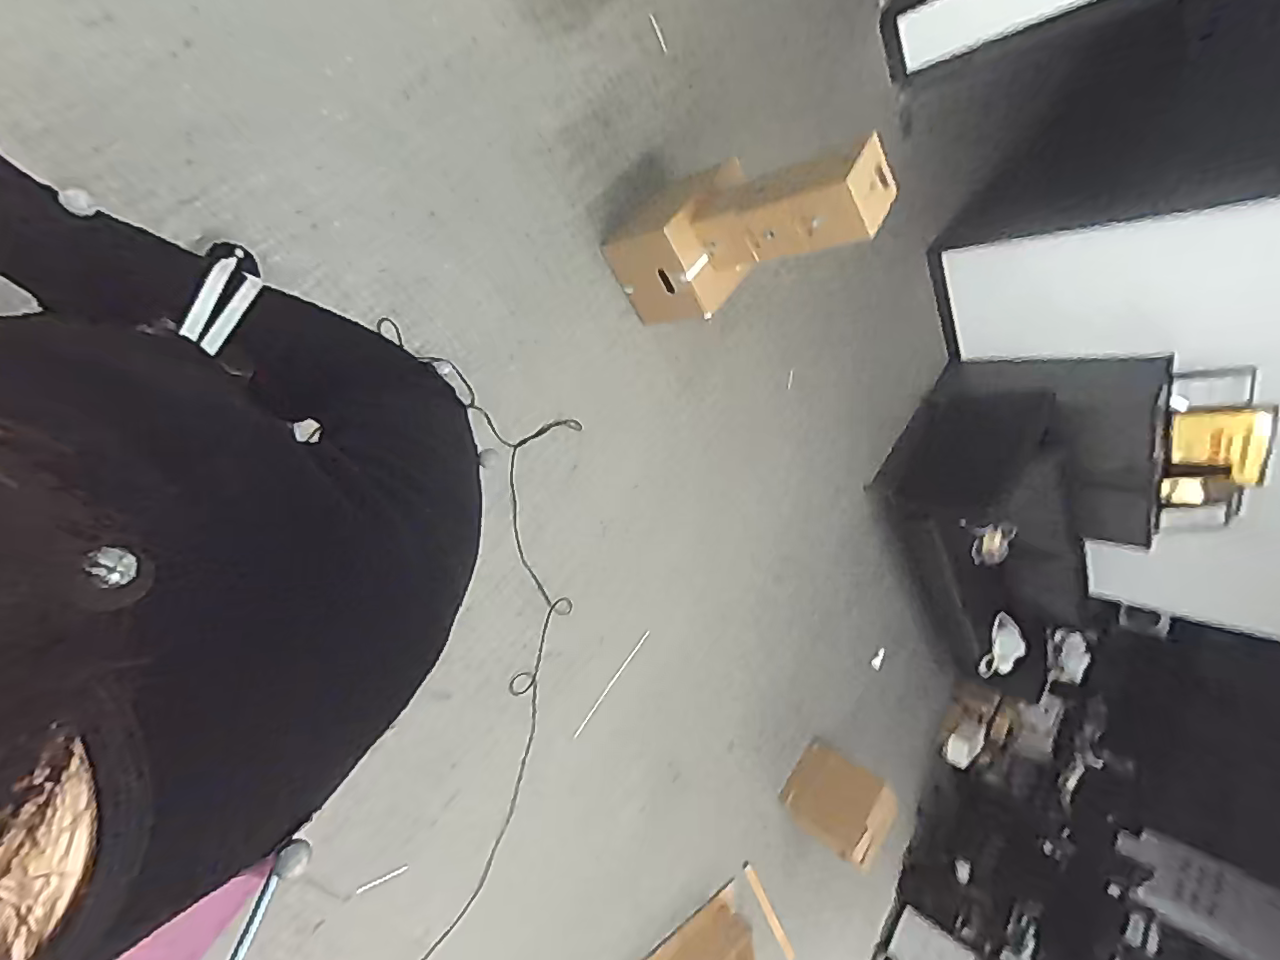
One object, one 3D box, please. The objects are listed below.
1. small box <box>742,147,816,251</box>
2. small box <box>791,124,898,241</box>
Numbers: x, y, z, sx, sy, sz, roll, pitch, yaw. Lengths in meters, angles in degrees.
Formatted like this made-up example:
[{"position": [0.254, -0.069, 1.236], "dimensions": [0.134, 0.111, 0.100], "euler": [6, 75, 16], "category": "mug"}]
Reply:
[{"position": [0.400, -0.751, 1.467], "dimensions": [0.168, 0.176, 0.179], "euler": [43, 72, -36], "category": "small box"}, {"position": [0.506, -0.729, 1.342], "dimensions": [0.168, 0.176, 0.179], "euler": [42, 72, -36], "category": "small box"}]
